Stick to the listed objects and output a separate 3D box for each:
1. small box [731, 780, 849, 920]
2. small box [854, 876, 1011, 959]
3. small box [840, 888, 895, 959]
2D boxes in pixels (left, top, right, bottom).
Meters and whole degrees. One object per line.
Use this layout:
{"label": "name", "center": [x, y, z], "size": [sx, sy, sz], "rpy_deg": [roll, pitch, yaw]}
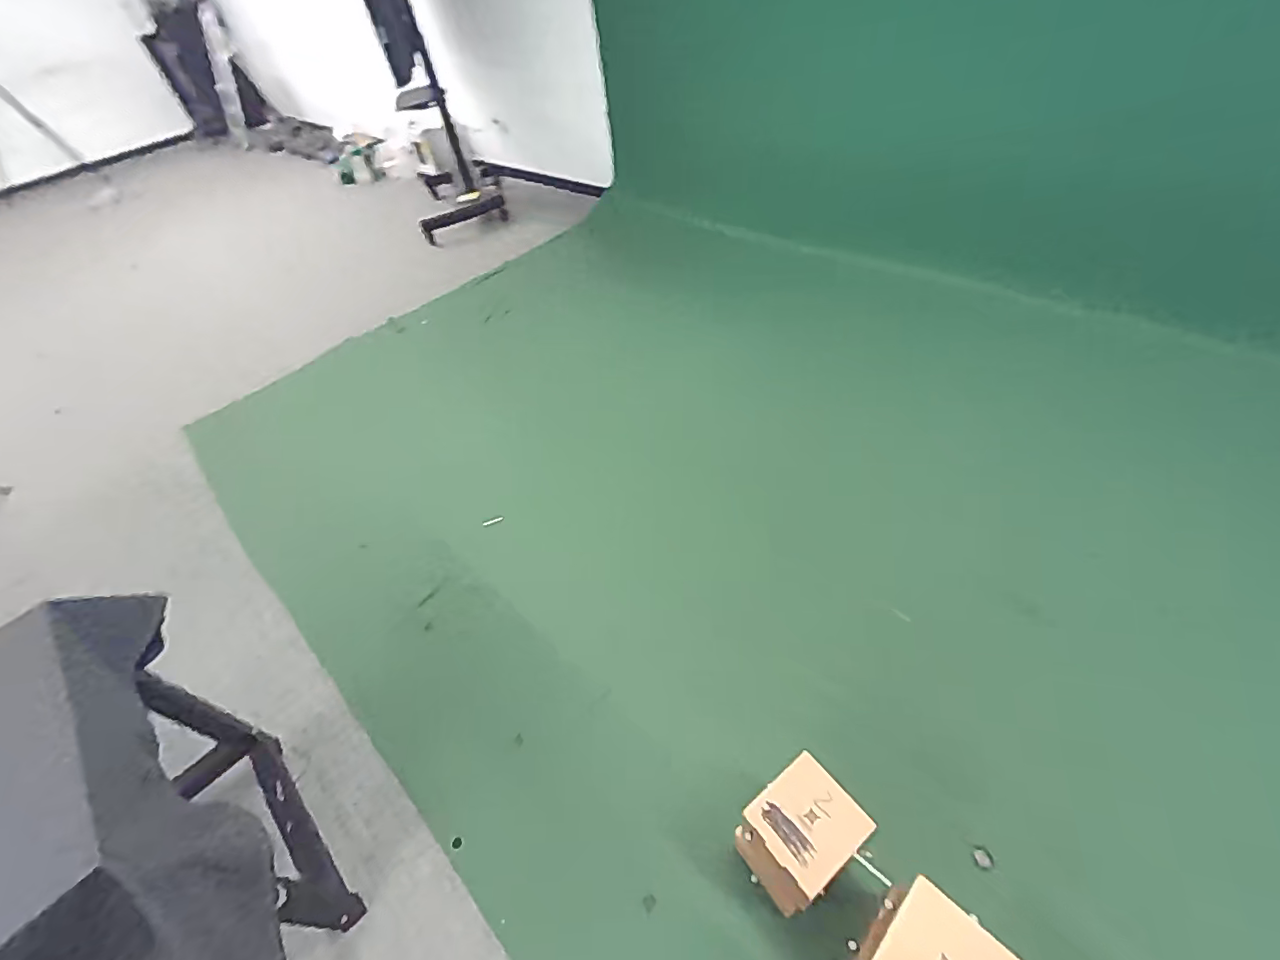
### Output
{"label": "small box", "center": [0.308, 0.781, 1.142], "size": [0.179, 0.176, 0.168], "rpy_deg": [-31, 50, -18]}
{"label": "small box", "center": [0.470, 0.798, 0.876], "size": [0.179, 0.176, 0.168], "rpy_deg": [34, 60, 32]}
{"label": "small box", "center": [0.479, 0.908, 0.996], "size": [0.168, 0.176, 0.179], "rpy_deg": [30, 58, 31]}
